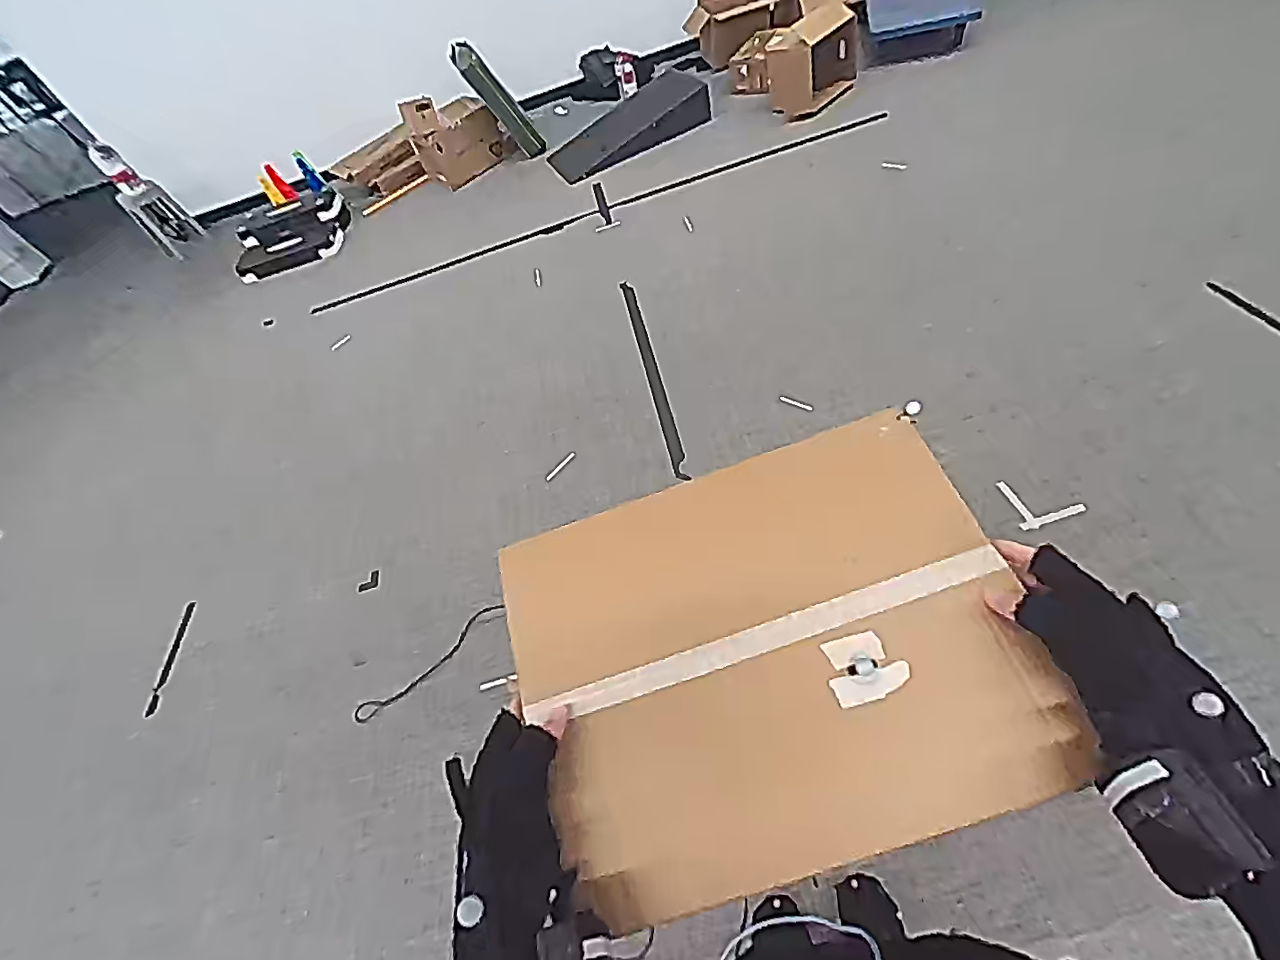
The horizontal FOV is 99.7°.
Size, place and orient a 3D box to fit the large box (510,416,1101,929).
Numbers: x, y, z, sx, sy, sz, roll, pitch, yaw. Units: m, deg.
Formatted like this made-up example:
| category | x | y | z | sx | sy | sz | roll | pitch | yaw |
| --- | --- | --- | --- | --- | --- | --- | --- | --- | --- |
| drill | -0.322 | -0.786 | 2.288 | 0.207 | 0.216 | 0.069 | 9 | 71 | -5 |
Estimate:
| category | x | y | z | sx | sy | sz | roll | pitch | yaw |
| --- | --- | --- | --- | --- | --- | --- | --- | --- | --- |
| large box | 0.126 | 0.198 | 0.586 | 0.408 | 0.320 | 0.320 | -20 | 62 | 2 |
